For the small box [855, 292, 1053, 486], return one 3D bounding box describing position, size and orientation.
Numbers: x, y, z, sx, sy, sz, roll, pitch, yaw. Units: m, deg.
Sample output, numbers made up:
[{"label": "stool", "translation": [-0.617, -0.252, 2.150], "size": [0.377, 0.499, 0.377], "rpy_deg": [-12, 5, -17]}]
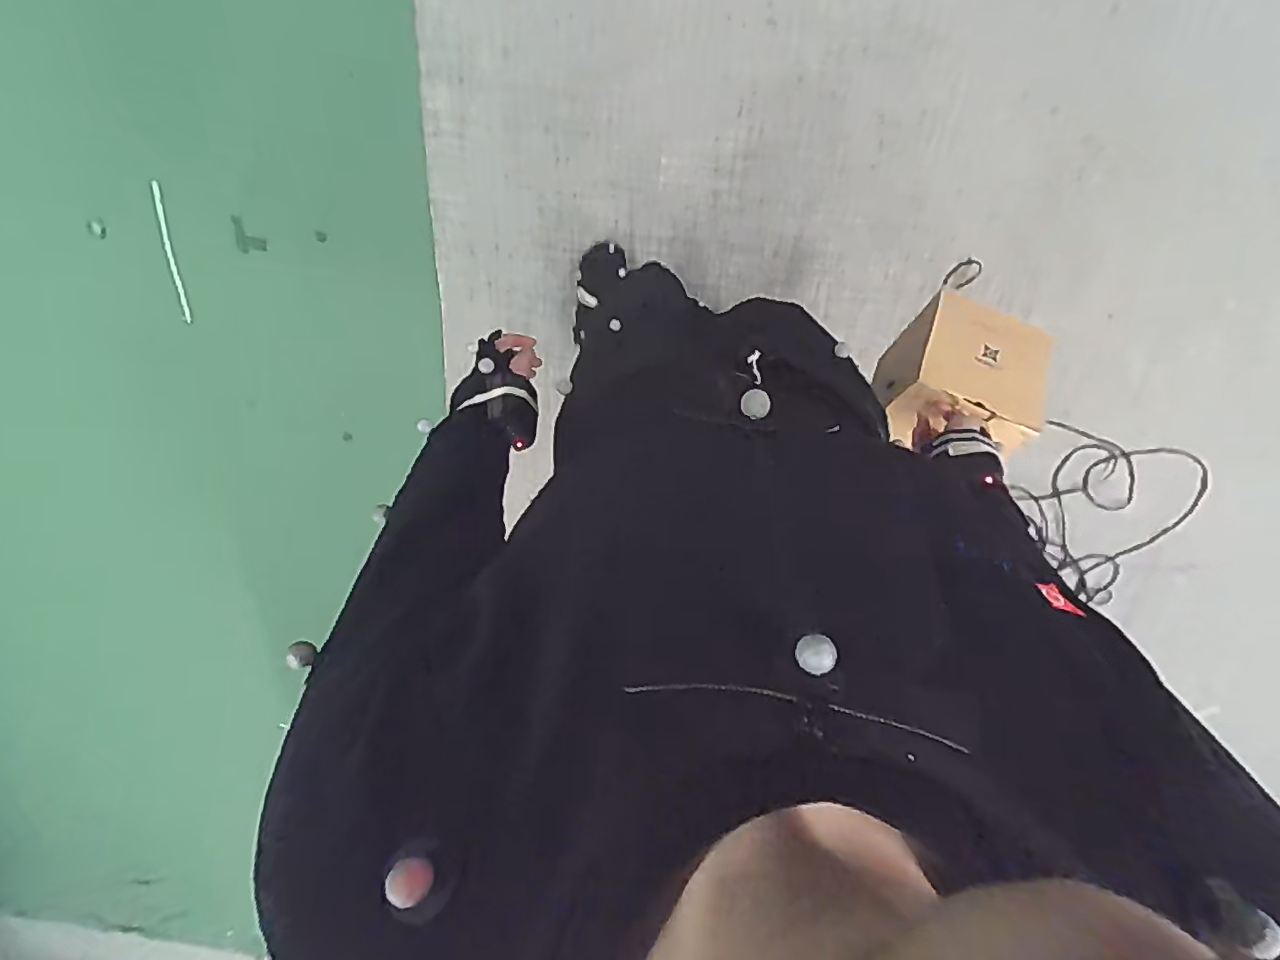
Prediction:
[{"label": "small box", "translation": [0.429, -0.117, 0.759], "size": [0.168, 0.179, 0.176], "rpy_deg": [26, 155, 2]}]
